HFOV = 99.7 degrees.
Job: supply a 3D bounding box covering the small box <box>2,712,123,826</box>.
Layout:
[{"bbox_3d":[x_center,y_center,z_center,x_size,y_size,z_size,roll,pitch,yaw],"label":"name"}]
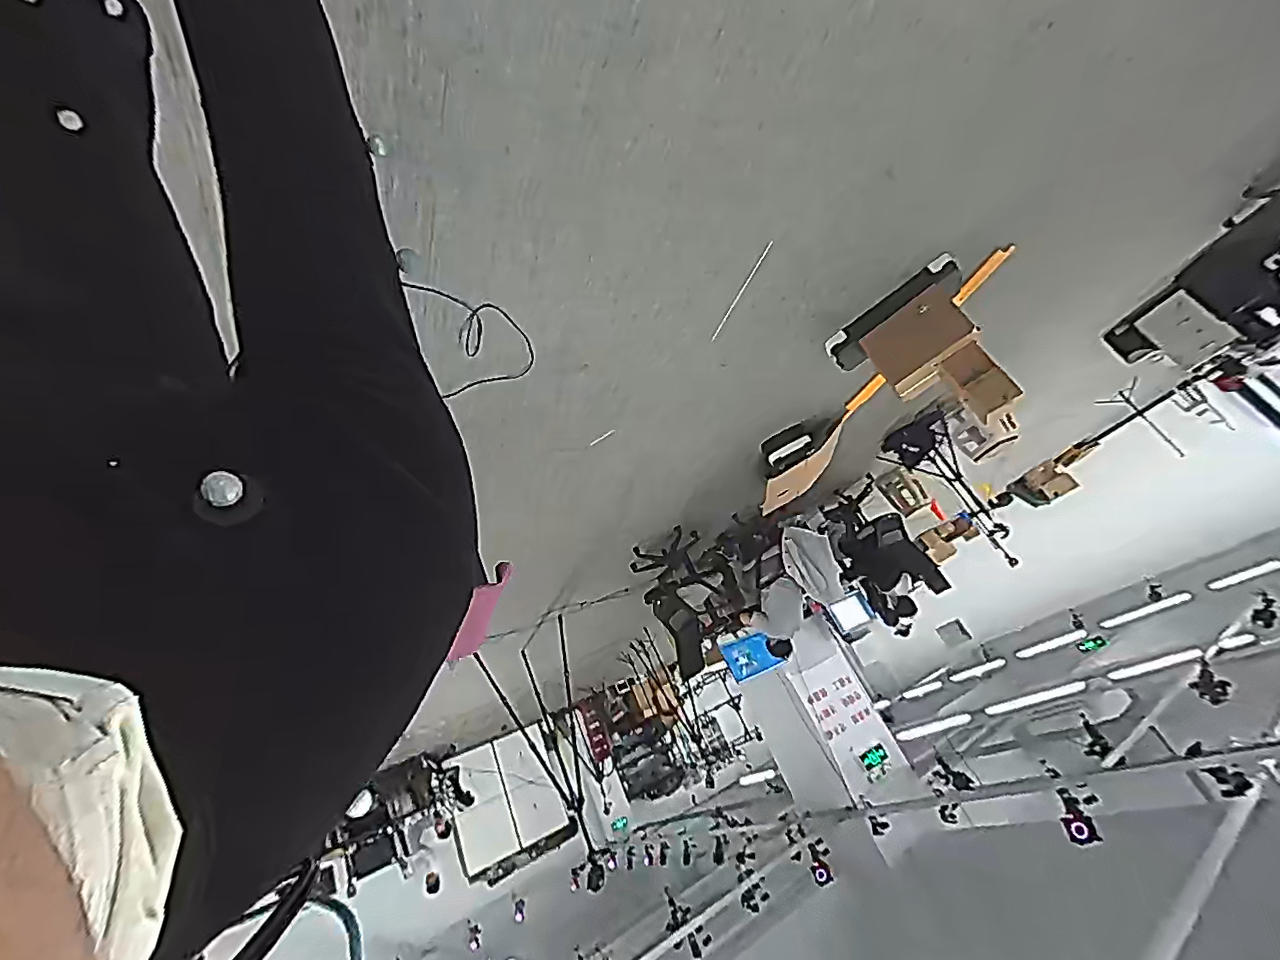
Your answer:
[{"bbox_3d":[-1.350,0.677,1.275,0.179,0.176,0.168,-6,149,-40],"label":"small box"}]
